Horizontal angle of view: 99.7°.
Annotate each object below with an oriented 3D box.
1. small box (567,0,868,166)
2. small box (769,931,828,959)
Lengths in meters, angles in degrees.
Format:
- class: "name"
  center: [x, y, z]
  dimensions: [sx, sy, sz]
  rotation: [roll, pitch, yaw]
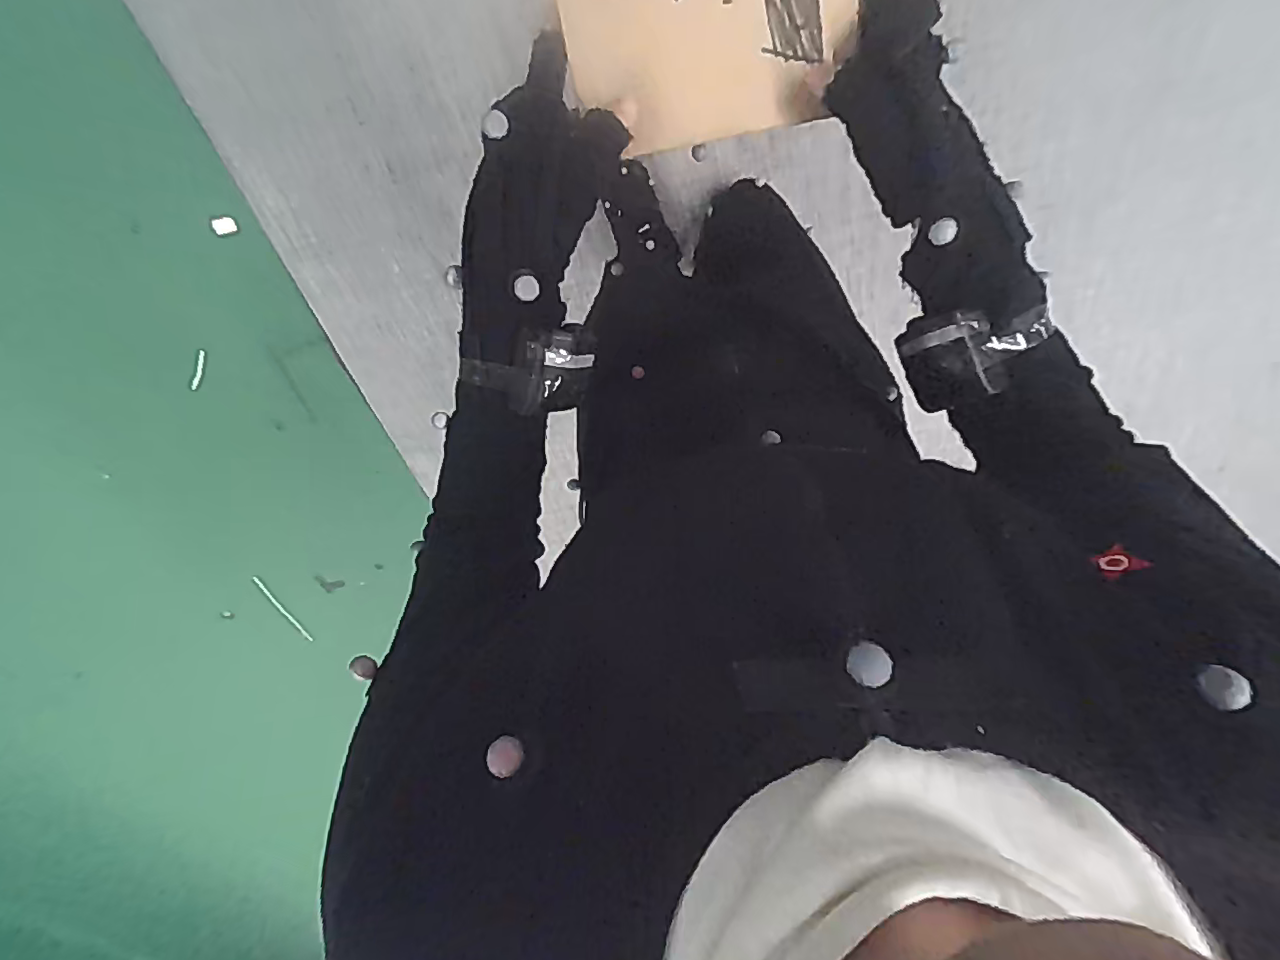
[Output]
- class: "small box"
  center: [0.041, -0.338, 0.375]
  dimensions: [0.179, 0.176, 0.168]
  rotation: [-11, 124, 7]
- class: "small box"
  center: [0.516, 1.566, 1.709]
  dimensions: [0.179, 0.176, 0.168]
  rotation: [-17, 125, 7]
